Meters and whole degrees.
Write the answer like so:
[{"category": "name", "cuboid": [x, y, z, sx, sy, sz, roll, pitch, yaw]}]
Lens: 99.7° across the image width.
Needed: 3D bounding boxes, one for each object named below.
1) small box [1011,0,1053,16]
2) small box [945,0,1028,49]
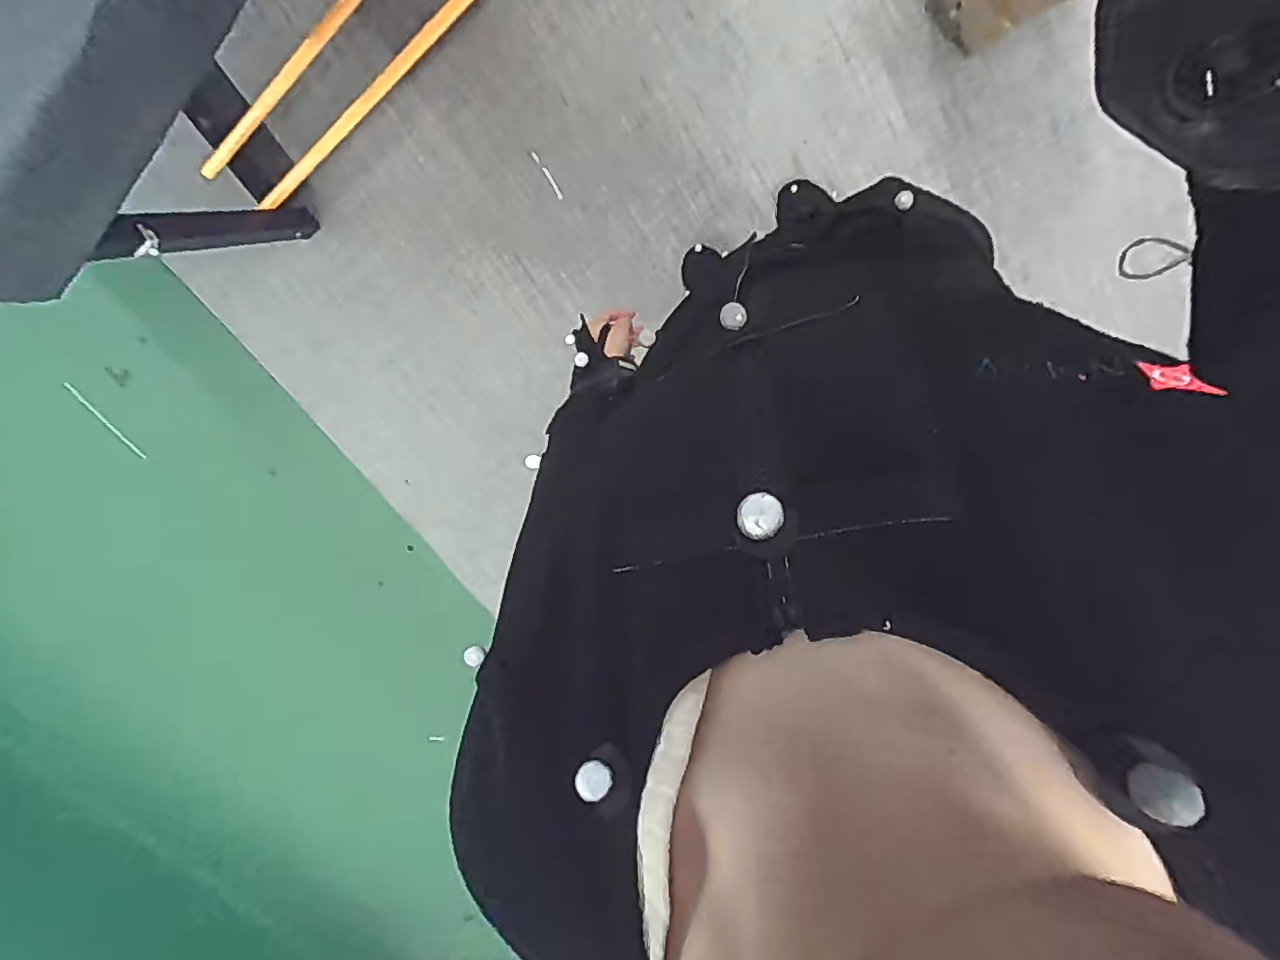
[{"category": "small box", "cuboid": [0.576, -0.756, 0.692, 0.179, 0.176, 0.168, -33, 108, 23]}, {"category": "small box", "cuboid": [0.593, -0.828, 0.838, 0.179, 0.176, 0.168, -33, 107, 25]}]
